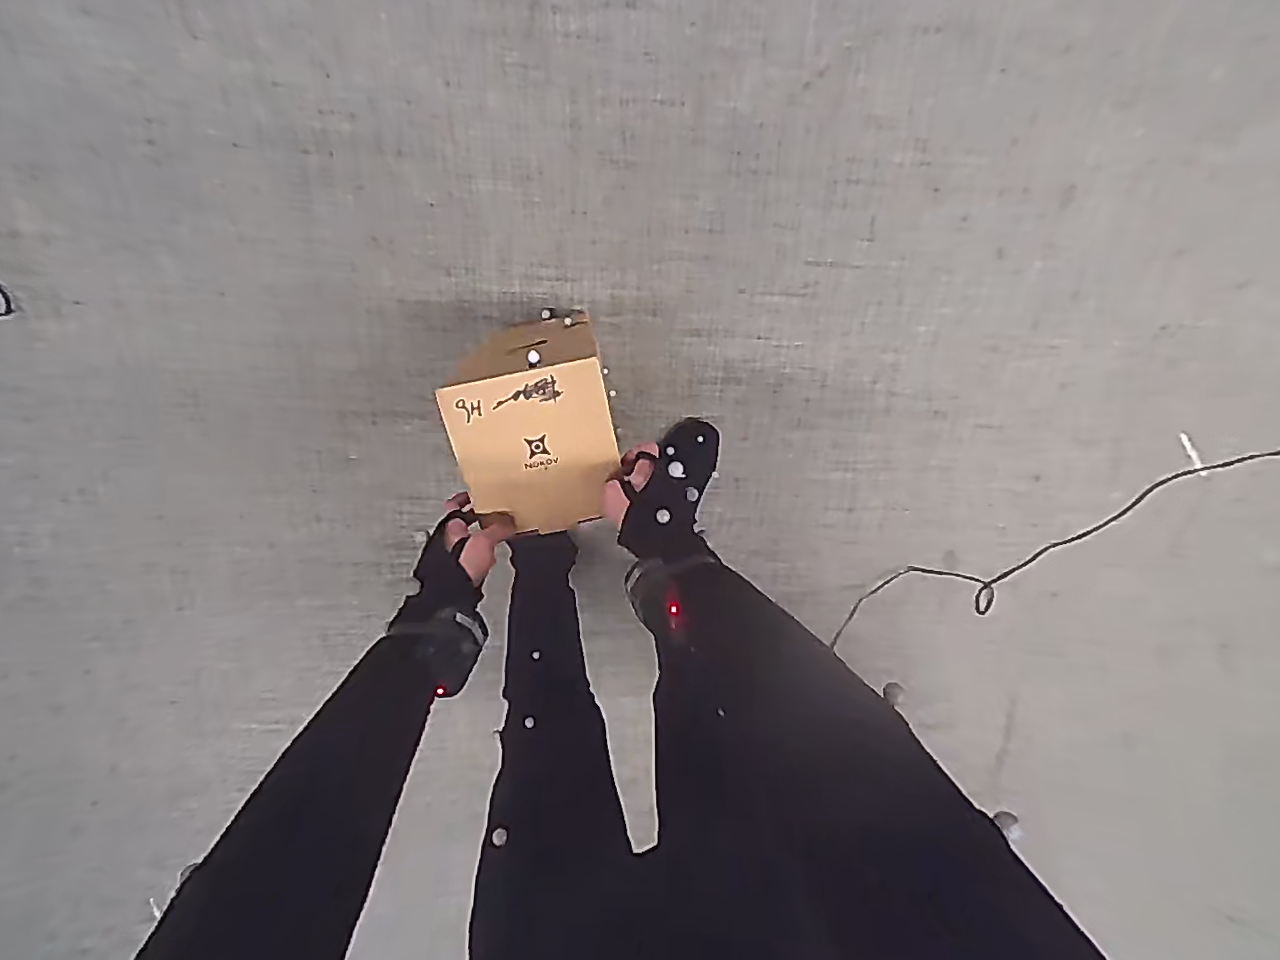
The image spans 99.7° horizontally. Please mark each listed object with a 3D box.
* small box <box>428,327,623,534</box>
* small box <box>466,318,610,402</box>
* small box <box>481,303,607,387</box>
[{"bbox_3d":[-0.116,-0.065,0.627,0.168,0.176,0.179,-12,114,0],"label":"small box"},{"bbox_3d":[-0.132,-0.128,0.776,0.168,0.176,0.179,-12,115,0],"label":"small box"},{"bbox_3d":[-0.152,-0.194,0.926,0.168,0.176,0.179,-13,112,0],"label":"small box"}]
